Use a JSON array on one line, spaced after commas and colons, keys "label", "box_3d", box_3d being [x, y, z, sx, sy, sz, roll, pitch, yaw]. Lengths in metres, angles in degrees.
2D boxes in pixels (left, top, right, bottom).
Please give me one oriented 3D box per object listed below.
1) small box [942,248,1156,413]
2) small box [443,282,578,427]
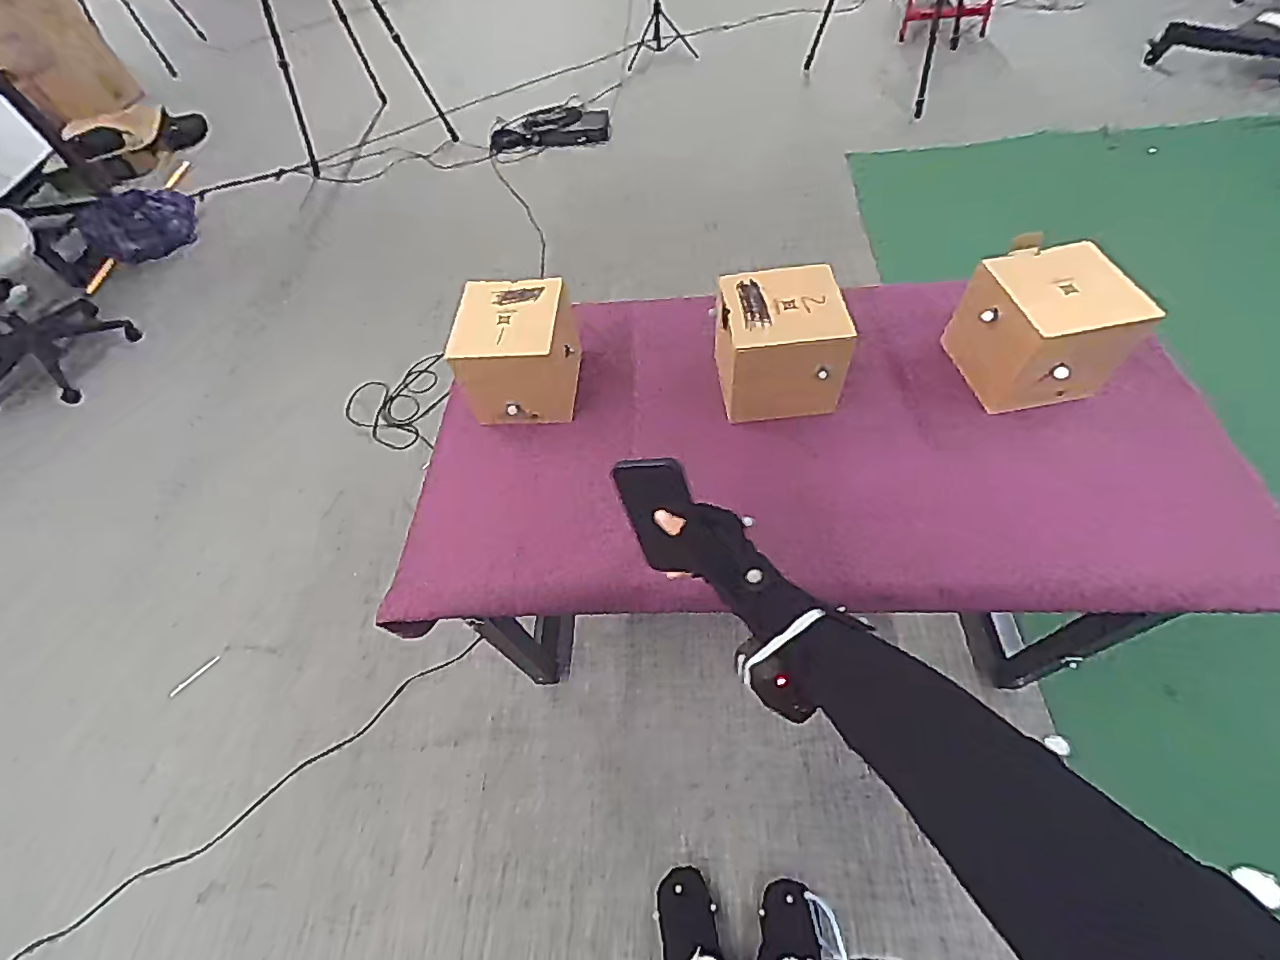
[{"label": "small box", "box_3d": [0.606, -0.219, 0.832, 0.168, 0.176, 0.179, -10, 56, 0]}, {"label": "small box", "box_3d": [-0.204, -0.208, 0.913, 0.168, 0.176, 0.179, 0, 59, 6]}]
